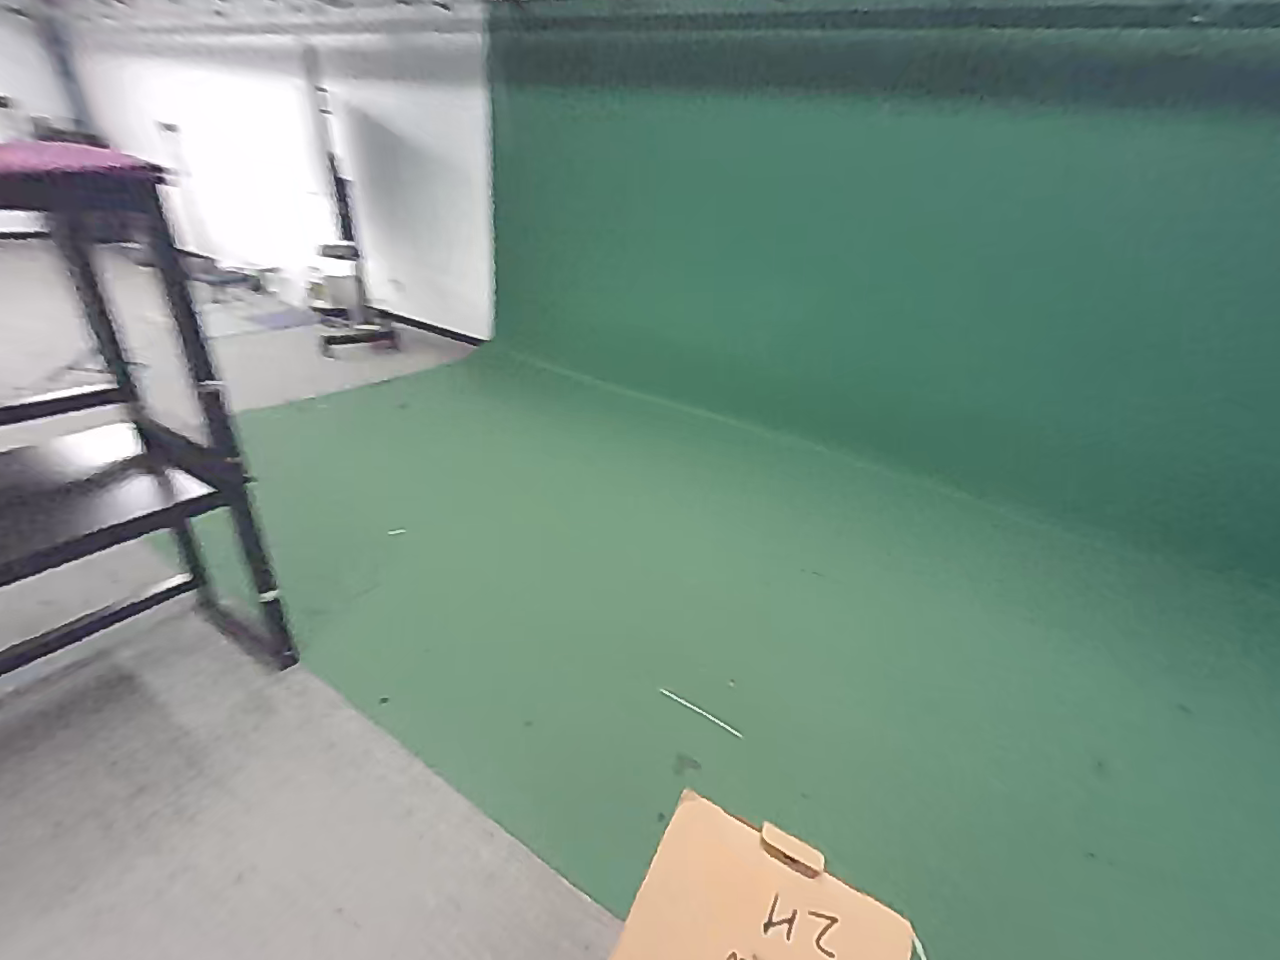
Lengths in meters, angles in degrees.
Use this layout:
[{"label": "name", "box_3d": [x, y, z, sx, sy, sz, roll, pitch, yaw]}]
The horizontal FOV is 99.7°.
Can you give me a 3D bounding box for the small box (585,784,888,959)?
[{"label": "small box", "box_3d": [0.046, 0.364, 0.371, 0.168, 0.176, 0.179, 22, 40, 18]}]
